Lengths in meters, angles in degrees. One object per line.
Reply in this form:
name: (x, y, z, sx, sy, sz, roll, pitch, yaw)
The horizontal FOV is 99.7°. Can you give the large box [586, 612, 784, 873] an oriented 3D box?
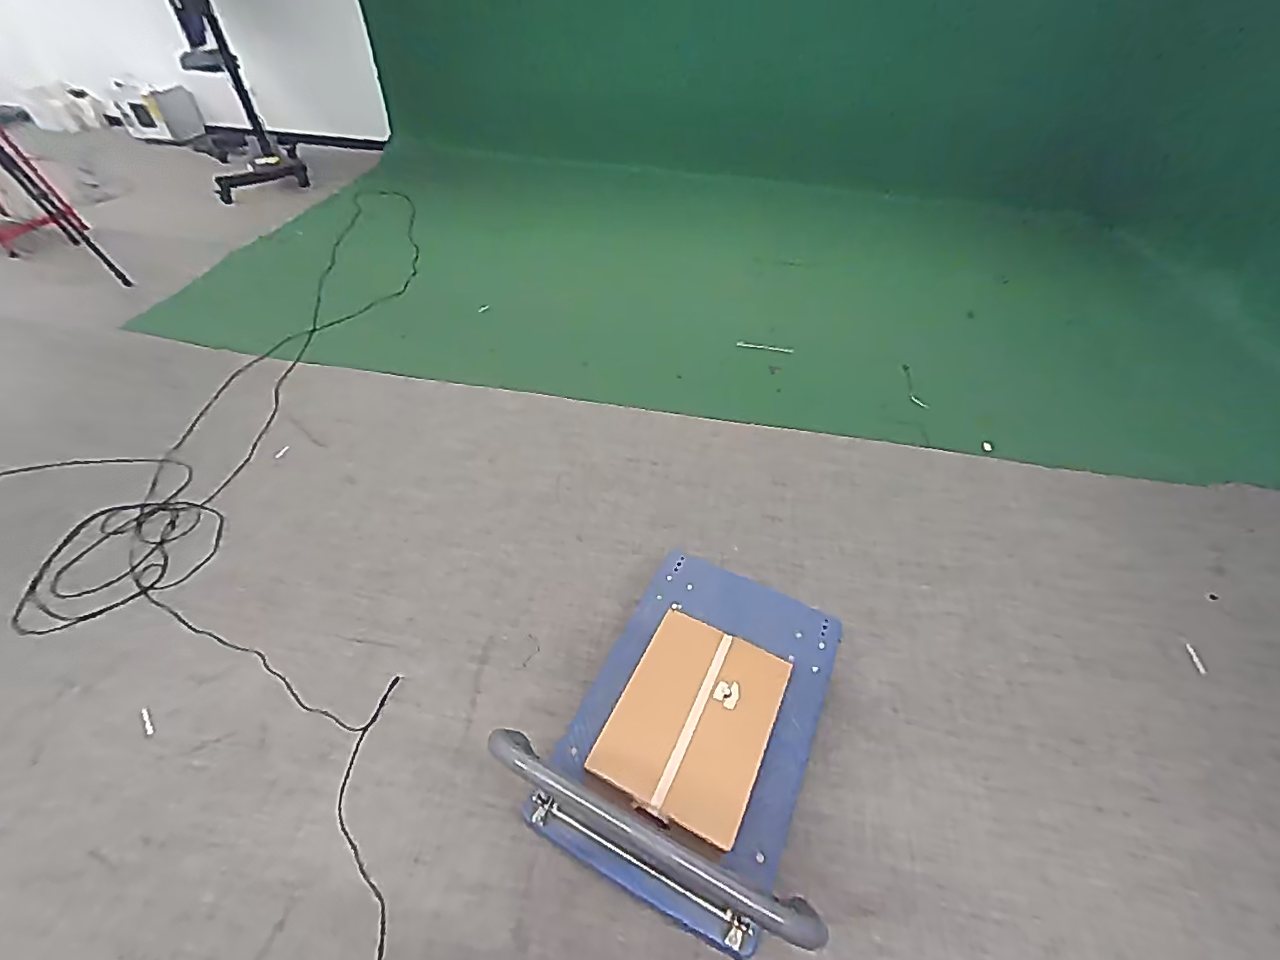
large box: (0.105, 0.604, 1.267, 0.320, 0.320, 0.408, 22, 48, 16)
